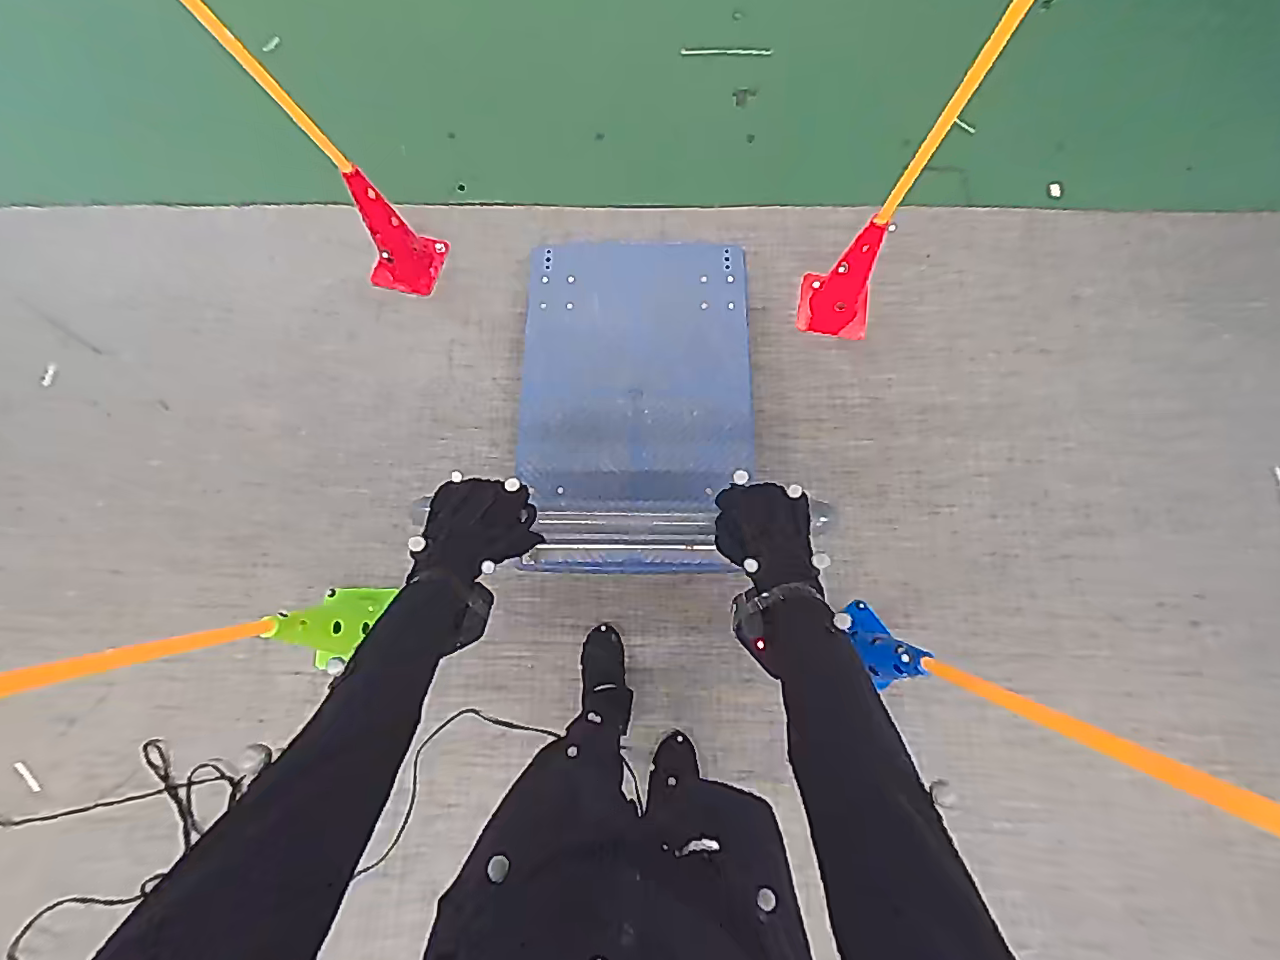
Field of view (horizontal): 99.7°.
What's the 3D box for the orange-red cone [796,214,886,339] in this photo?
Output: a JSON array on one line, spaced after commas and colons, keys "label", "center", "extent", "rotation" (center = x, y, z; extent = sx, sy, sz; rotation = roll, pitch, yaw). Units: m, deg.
[{"label": "orange-red cone", "center": [0.565, -0.560, 1.435], "extent": [0.198, 0.360, 0.199], "rotation": [12, 75, 5]}]
